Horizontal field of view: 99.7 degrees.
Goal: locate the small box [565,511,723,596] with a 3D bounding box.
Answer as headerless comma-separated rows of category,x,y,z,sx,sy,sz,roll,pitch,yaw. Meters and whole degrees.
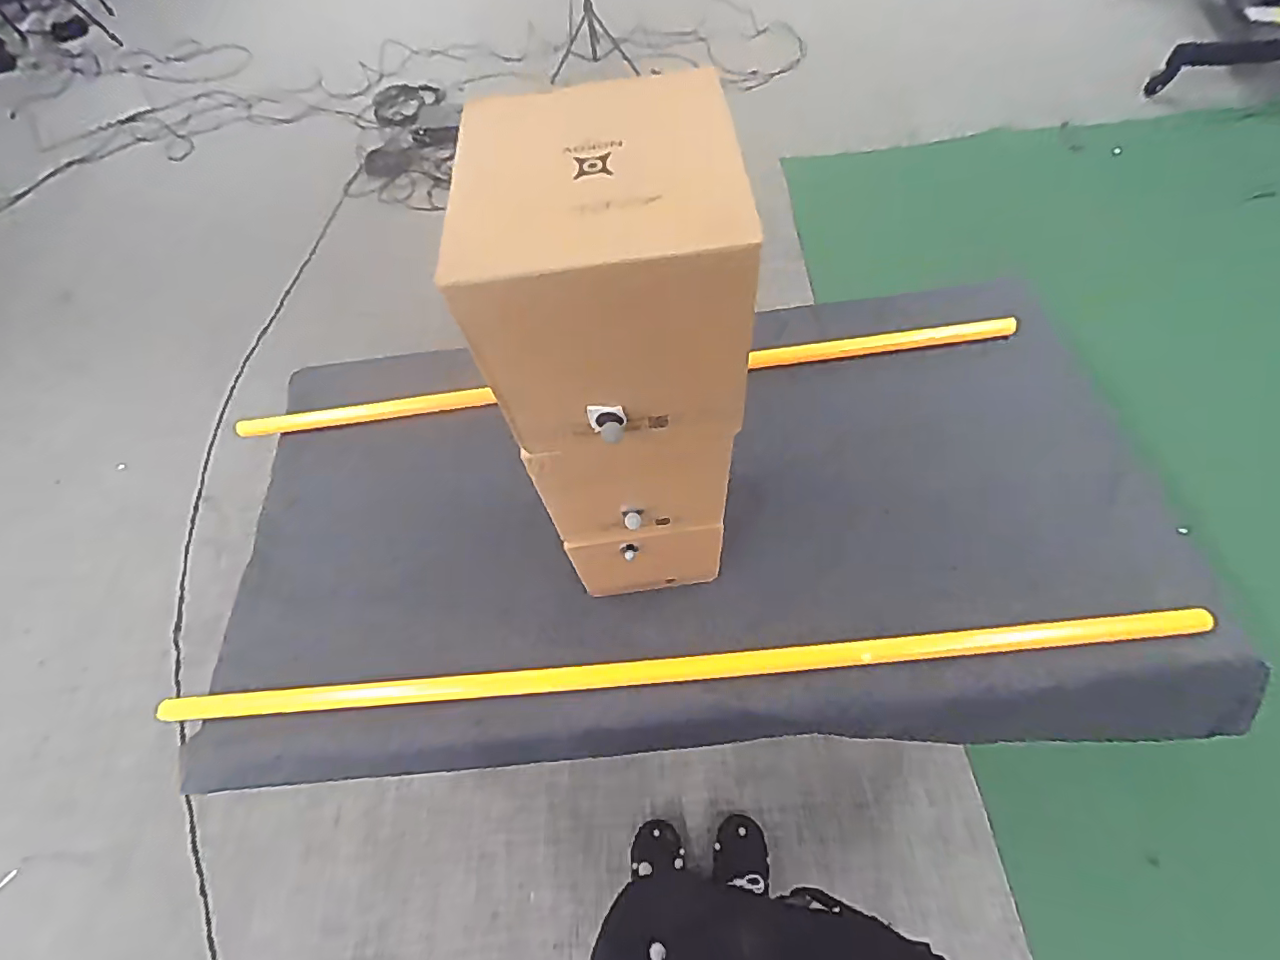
small box,0.003,0.025,0.665,0.168,0.176,0.179,-9,60,2

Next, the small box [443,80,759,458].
small box,-0.019,-0.138,0.384,0.168,0.176,0.179,-7,61,3

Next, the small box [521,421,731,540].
small box,-0.011,-0.060,0.525,0.168,0.176,0.179,-7,61,2
